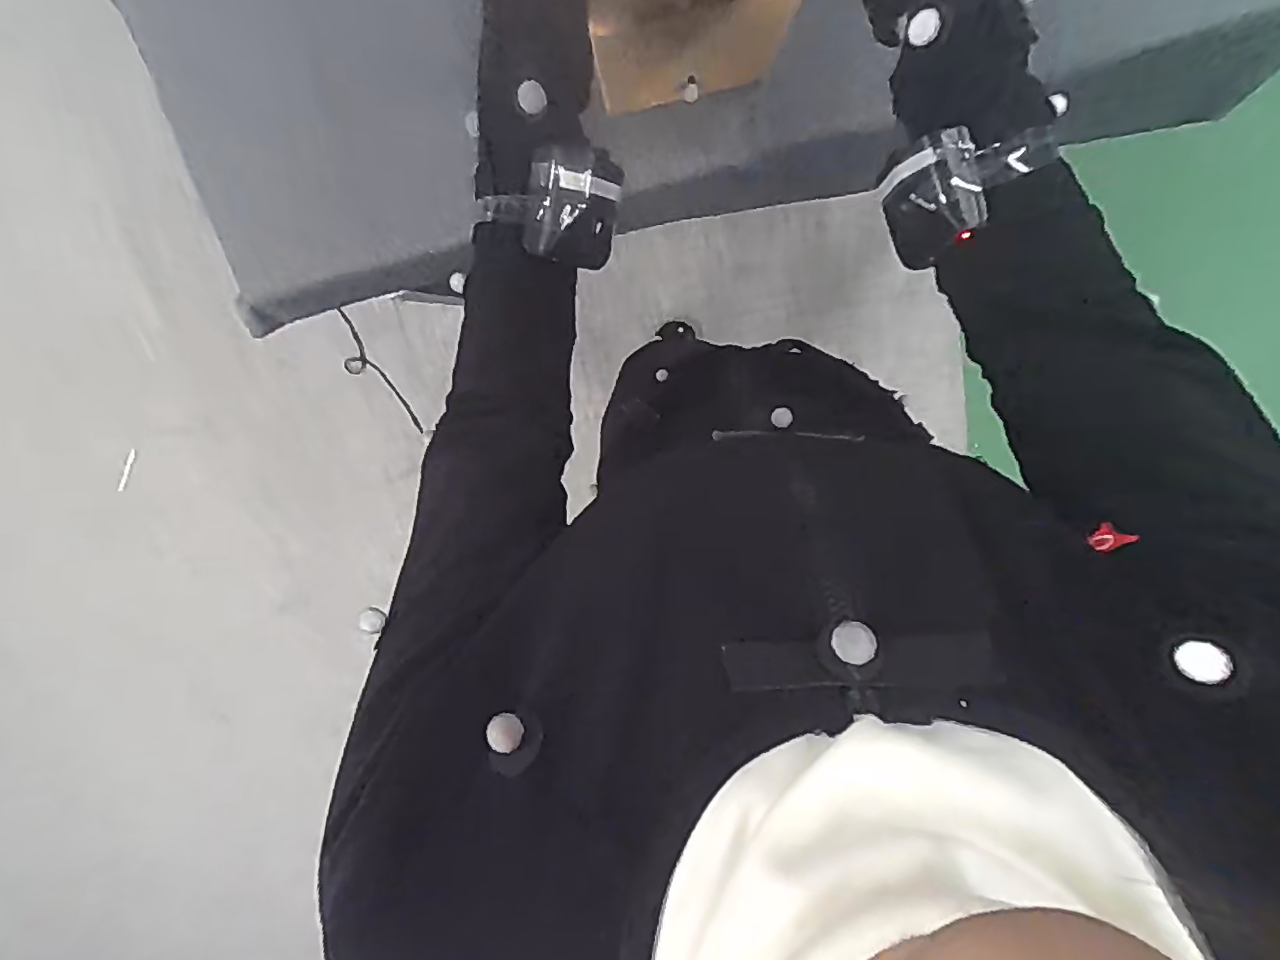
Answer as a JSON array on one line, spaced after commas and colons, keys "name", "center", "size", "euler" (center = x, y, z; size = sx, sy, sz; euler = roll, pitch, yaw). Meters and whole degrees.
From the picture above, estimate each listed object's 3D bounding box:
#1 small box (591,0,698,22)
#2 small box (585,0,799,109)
[{"name": "small box", "center": [0.021, -0.438, 0.327], "size": [0.168, 0.176, 0.179], "euler": [-10, 105, 6]}, {"name": "small box", "center": [0.033, -0.473, 0.487], "size": [0.179, 0.176, 0.168], "euler": [-11, 104, 4]}]
